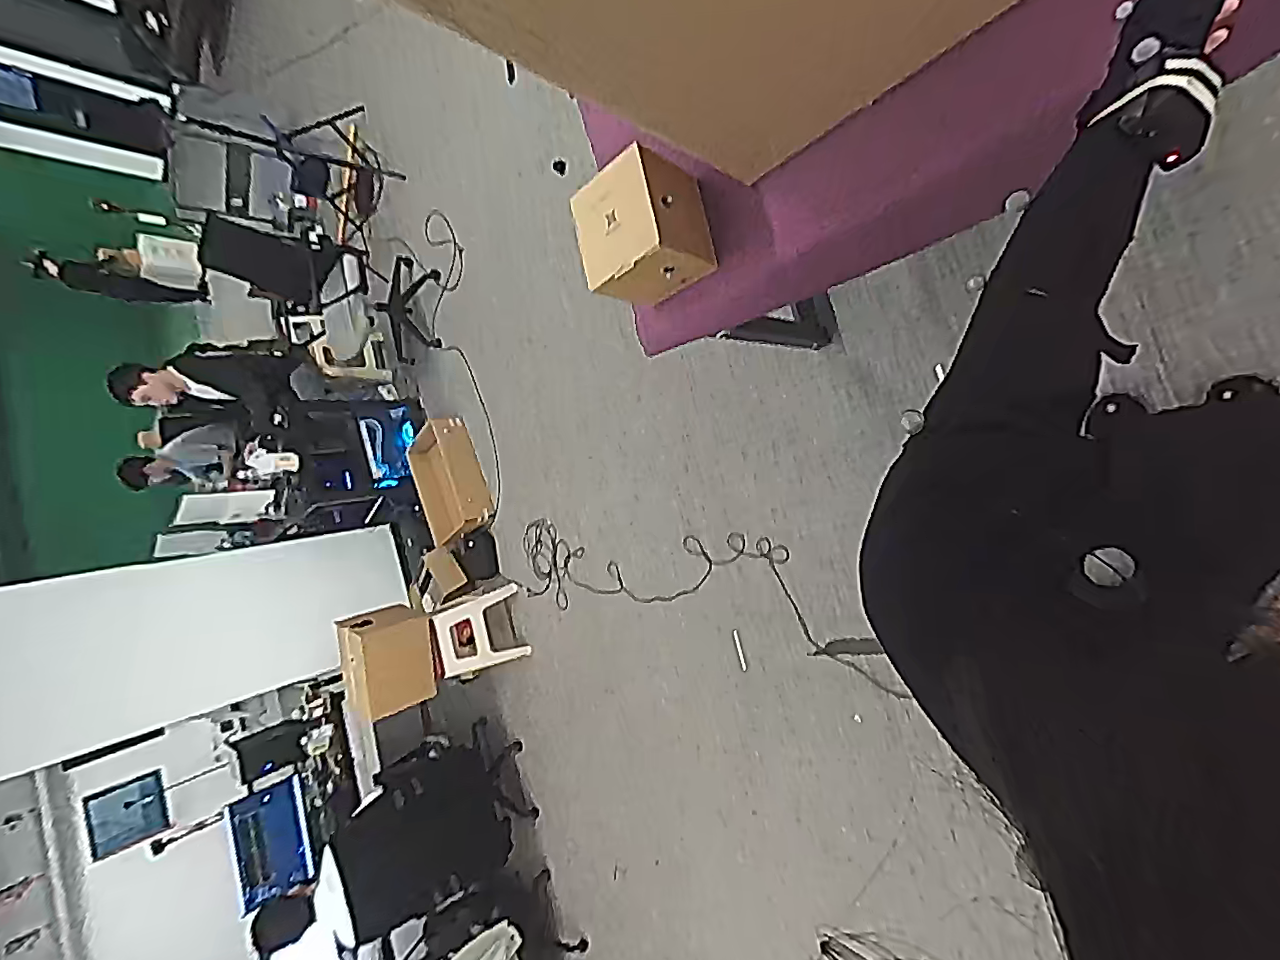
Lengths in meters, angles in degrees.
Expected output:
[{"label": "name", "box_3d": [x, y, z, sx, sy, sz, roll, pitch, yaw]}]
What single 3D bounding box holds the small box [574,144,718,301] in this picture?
[{"label": "small box", "box_3d": [0.015, -0.428, 0.941, 0.168, 0.176, 0.179, -17, 82, 41]}]
